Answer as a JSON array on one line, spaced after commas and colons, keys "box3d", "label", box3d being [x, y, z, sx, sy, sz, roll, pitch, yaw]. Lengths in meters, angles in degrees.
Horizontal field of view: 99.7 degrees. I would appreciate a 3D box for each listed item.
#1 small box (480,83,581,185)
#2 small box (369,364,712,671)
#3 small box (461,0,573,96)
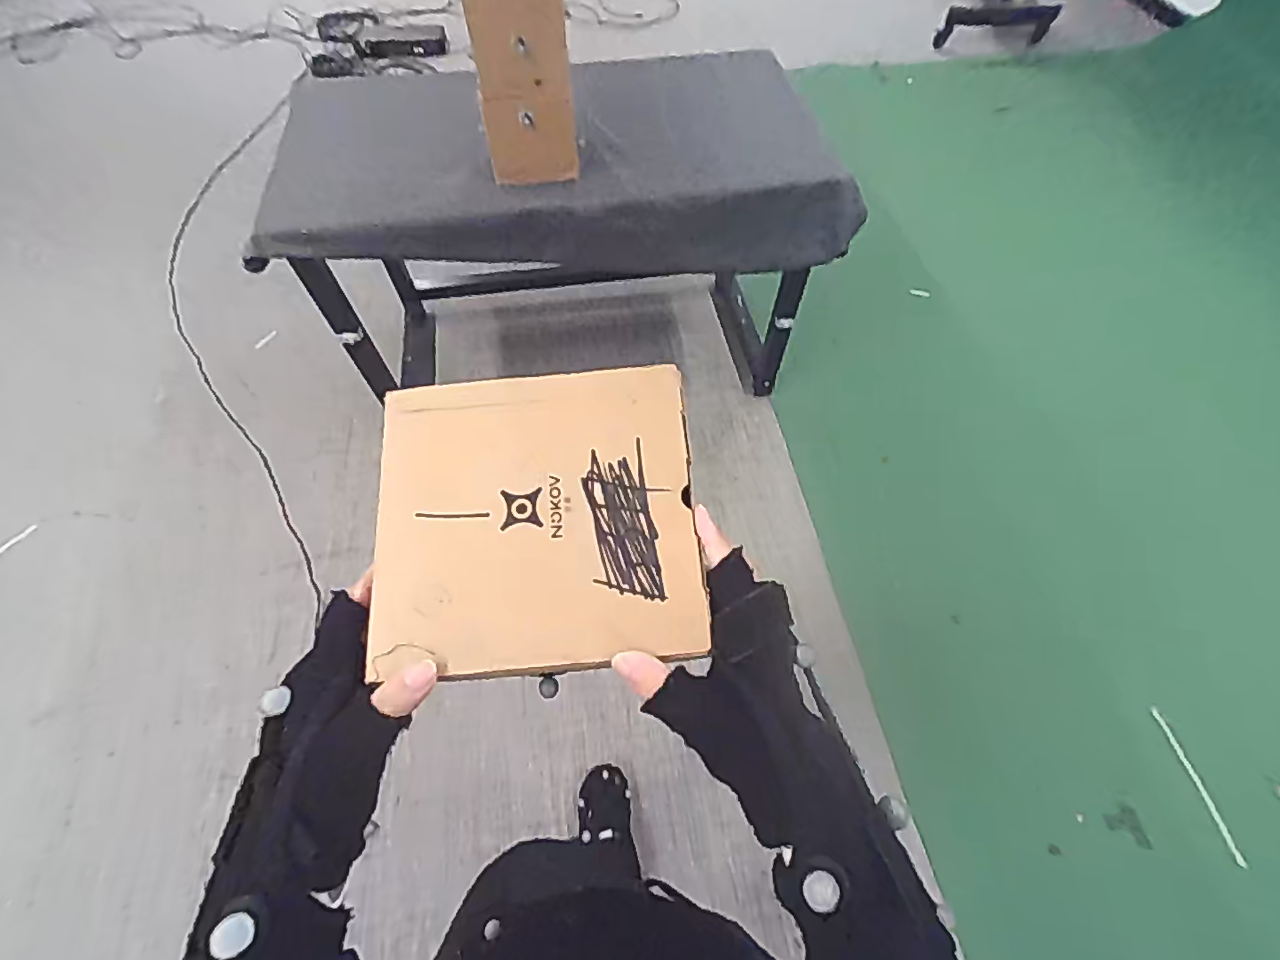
[{"box3d": [-0.218, -0.726, 1.102, 0.179, 0.176, 0.168, -7, 60, -6], "label": "small box"}, {"box3d": [-0.056, 0.038, 0.373, 0.179, 0.176, 0.168, -5, 71, -1], "label": "small box"}, {"box3d": [-0.217, -0.812, 0.963, 0.168, 0.176, 0.179, -9, 61, -5], "label": "small box"}]
